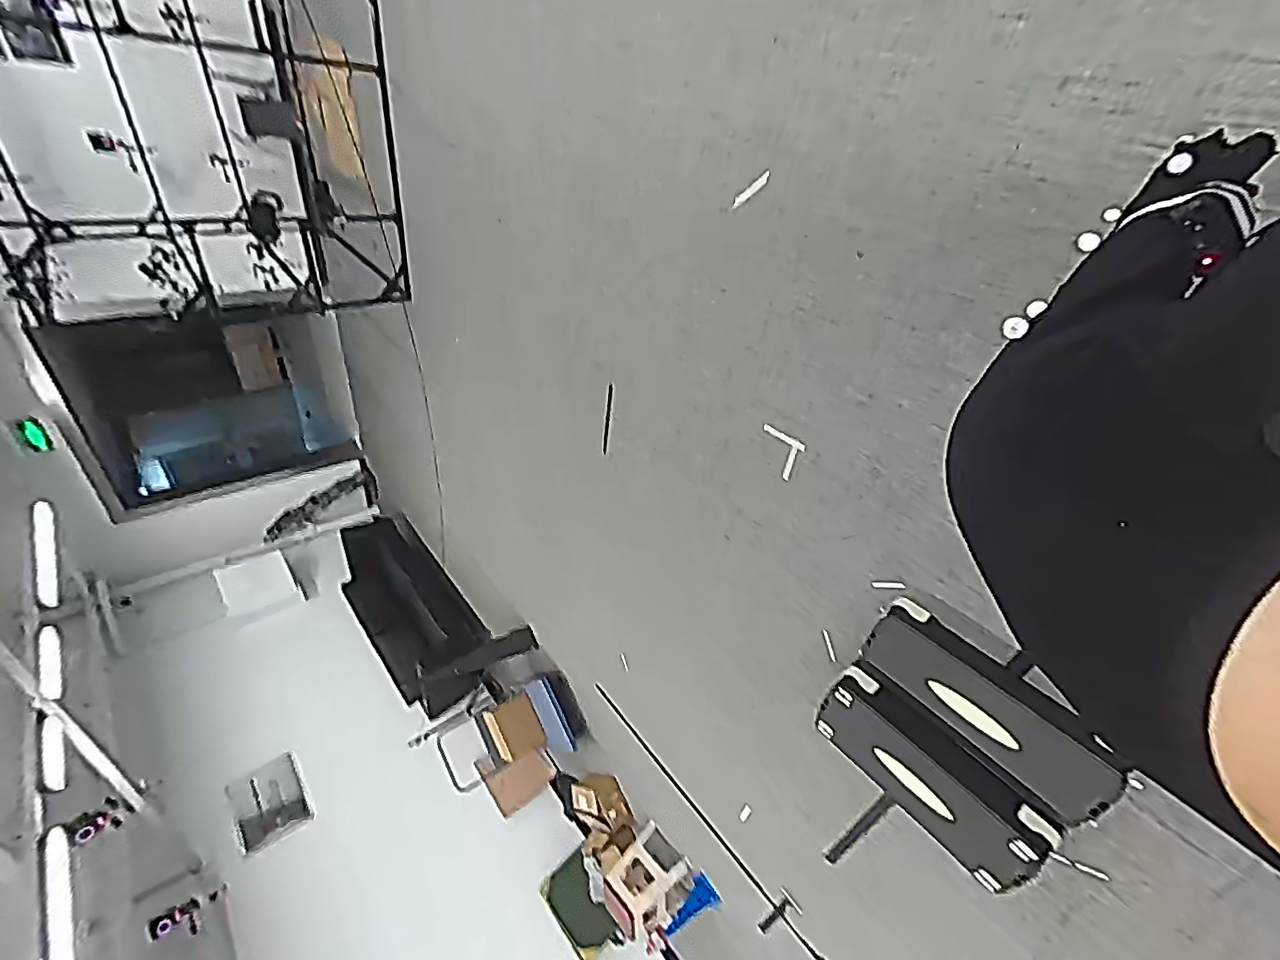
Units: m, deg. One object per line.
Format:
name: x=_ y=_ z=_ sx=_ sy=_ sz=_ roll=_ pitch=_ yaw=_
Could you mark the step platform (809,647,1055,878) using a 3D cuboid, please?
step platform: x=0.885 y=0.876 z=1.729 sx=0.684 sy=0.204 sz=0.286 roll=39 pitch=135 yaw=36
